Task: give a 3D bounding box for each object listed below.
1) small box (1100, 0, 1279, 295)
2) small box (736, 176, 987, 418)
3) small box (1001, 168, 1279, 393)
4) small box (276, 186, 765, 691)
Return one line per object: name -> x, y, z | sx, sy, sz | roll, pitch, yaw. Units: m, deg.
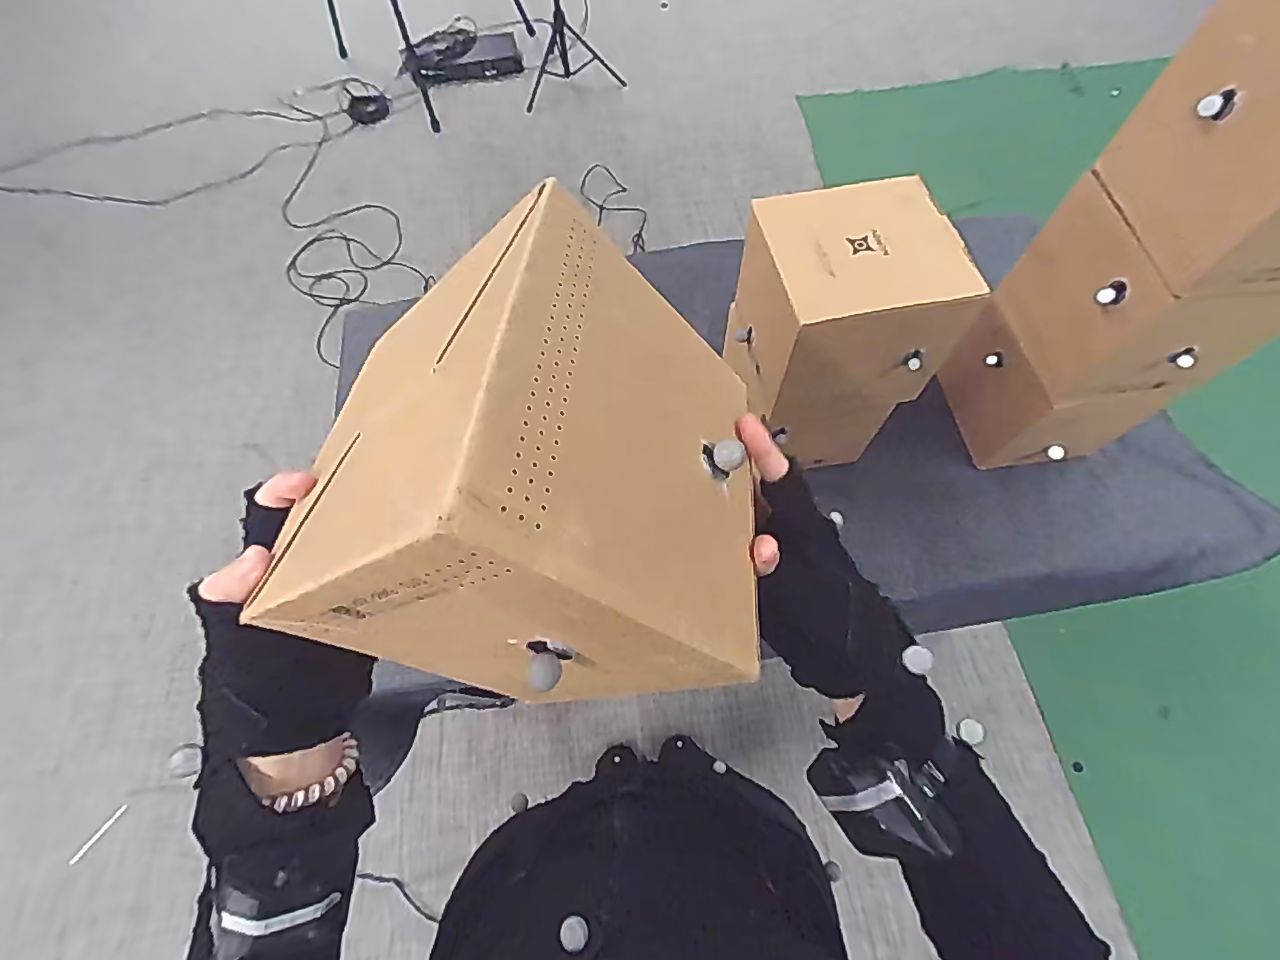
small box -> 0.527, -0.274, 0.425 | 0.168, 0.176, 0.179 | -4, 64, 1
small box -> 0.215, -0.186, 0.581 | 0.179, 0.176, 0.168 | -10, 64, -2
small box -> 0.535, -0.205, 0.575 | 0.168, 0.176, 0.179 | -6, 65, 0
small box -> -0.051, -0.002, 0.285 | 0.168, 0.176, 0.179 | -22, 49, 36
